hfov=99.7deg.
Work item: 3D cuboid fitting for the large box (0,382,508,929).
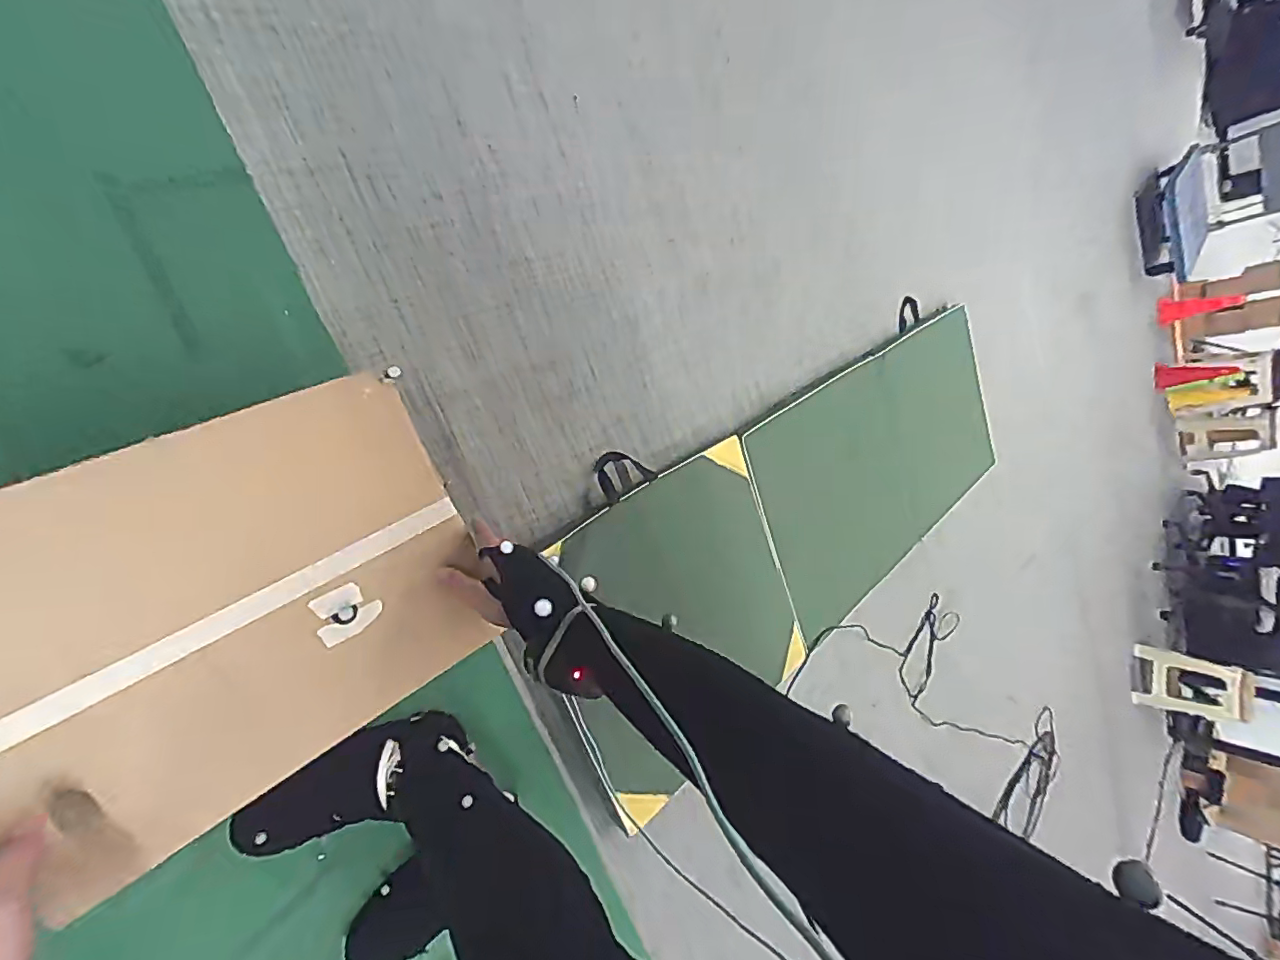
[{"bbox_3d":[-0.435,0.127,0.599,0.408,0.320,0.320,-31,108,-32],"label":"large box"}]
